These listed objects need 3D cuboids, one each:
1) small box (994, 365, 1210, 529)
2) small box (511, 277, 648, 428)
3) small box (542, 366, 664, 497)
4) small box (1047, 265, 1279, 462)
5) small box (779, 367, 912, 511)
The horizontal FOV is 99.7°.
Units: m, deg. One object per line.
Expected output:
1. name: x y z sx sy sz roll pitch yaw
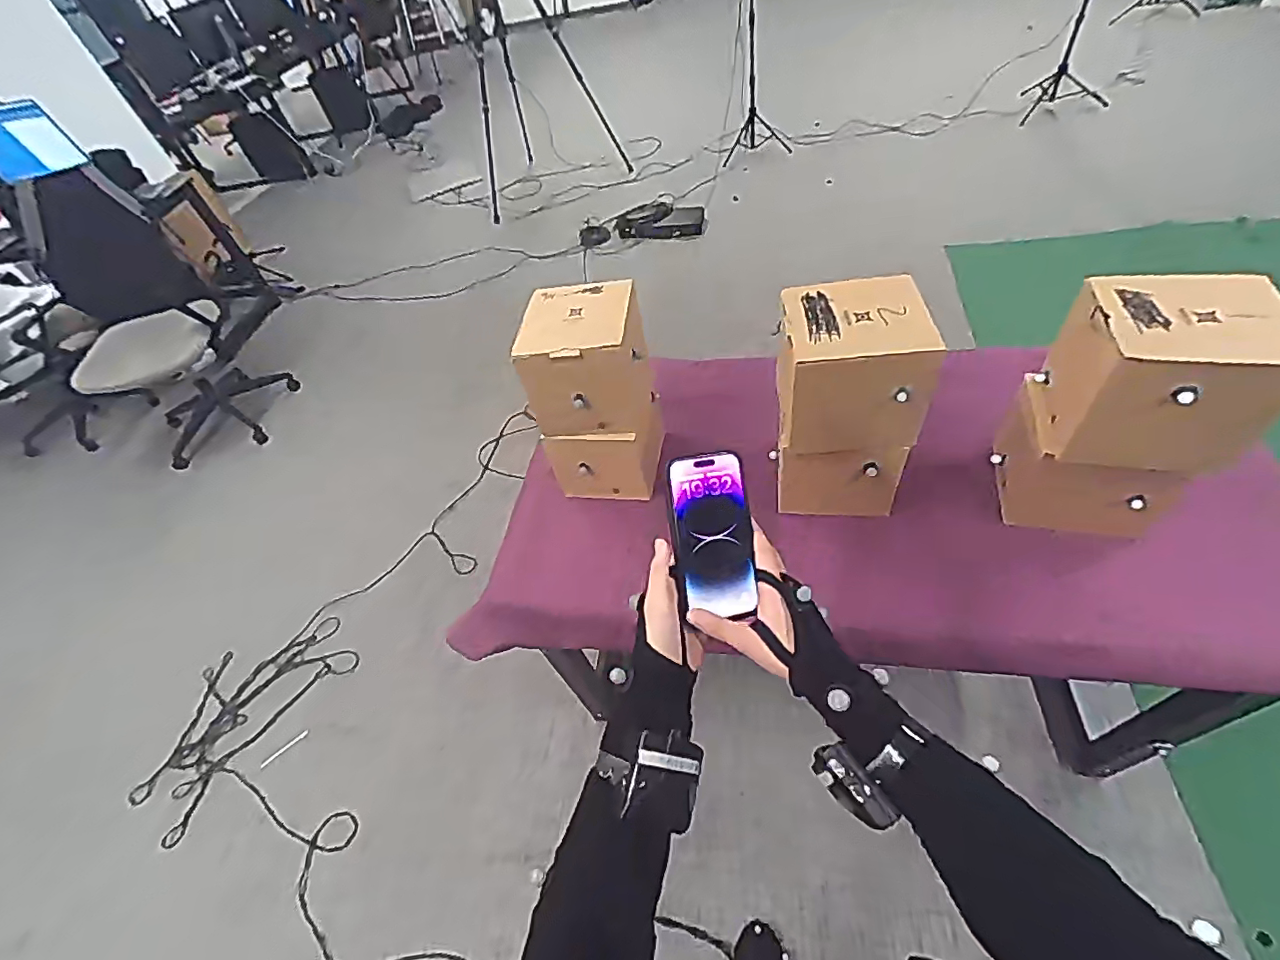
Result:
1. small box: 0.648 -0.046 0.785 0.179 0.176 0.168 6 52 18
2. small box: -0.084 -0.195 0.864 0.168 0.176 0.179 -2 51 11
3. small box: -0.056 -0.084 0.983 0.168 0.176 0.179 1 51 14
4. small box: 0.624 -0.137 0.651 0.179 0.176 0.168 6 52 17
5. small box: 0.319 -0.063 0.875 0.179 0.176 0.168 1 51 14
